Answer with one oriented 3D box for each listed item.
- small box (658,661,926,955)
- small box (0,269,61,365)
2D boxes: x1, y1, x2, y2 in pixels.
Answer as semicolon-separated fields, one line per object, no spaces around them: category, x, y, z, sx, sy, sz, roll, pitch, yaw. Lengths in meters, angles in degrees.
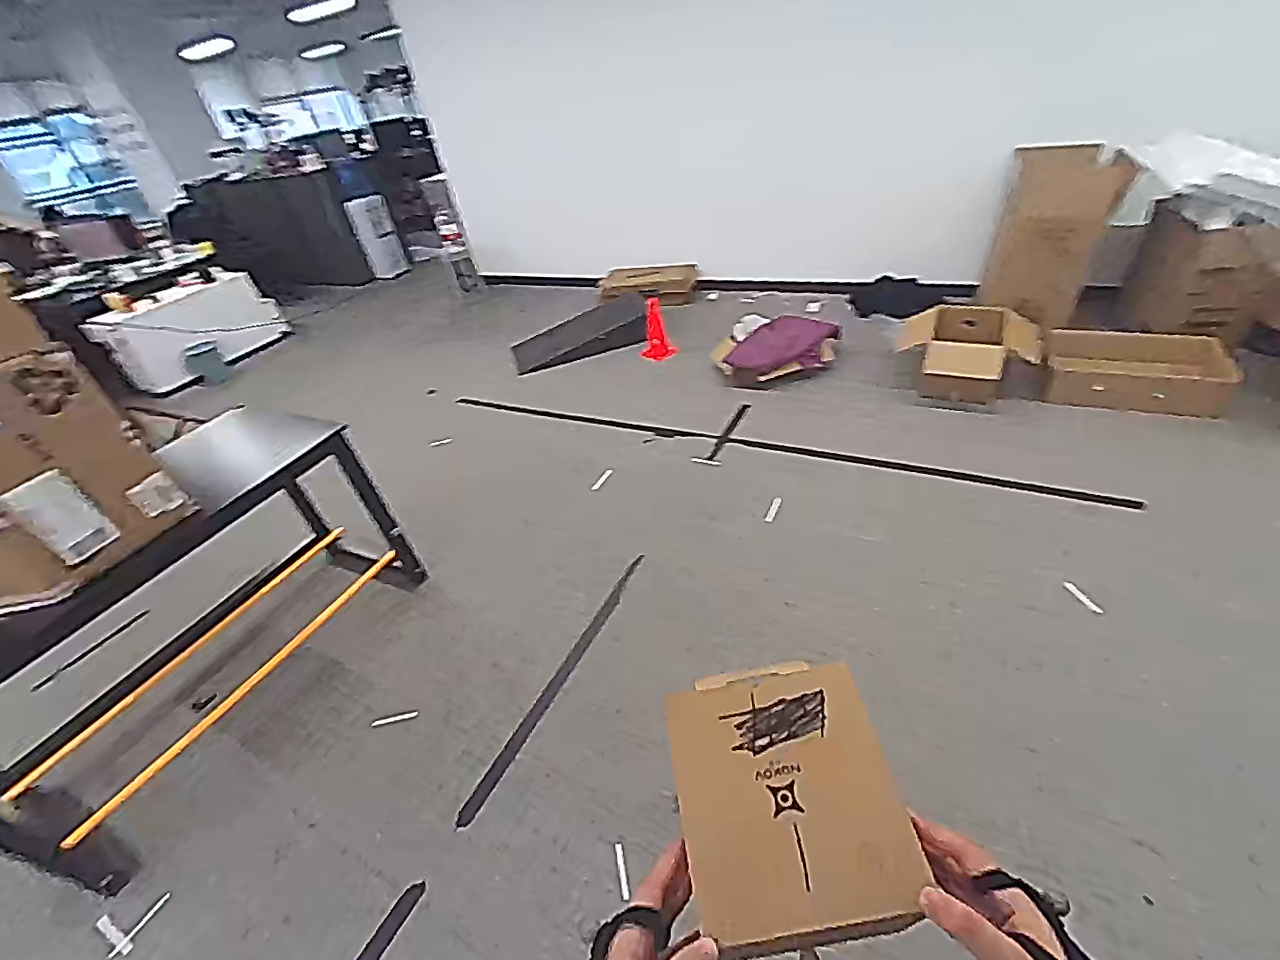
small box;0.118;0.293;0.484;0.168;0.176;0.179;-13;45;1
small box;-1.403;-0.329;1.131;0.168;0.176;0.179;8;39;25
